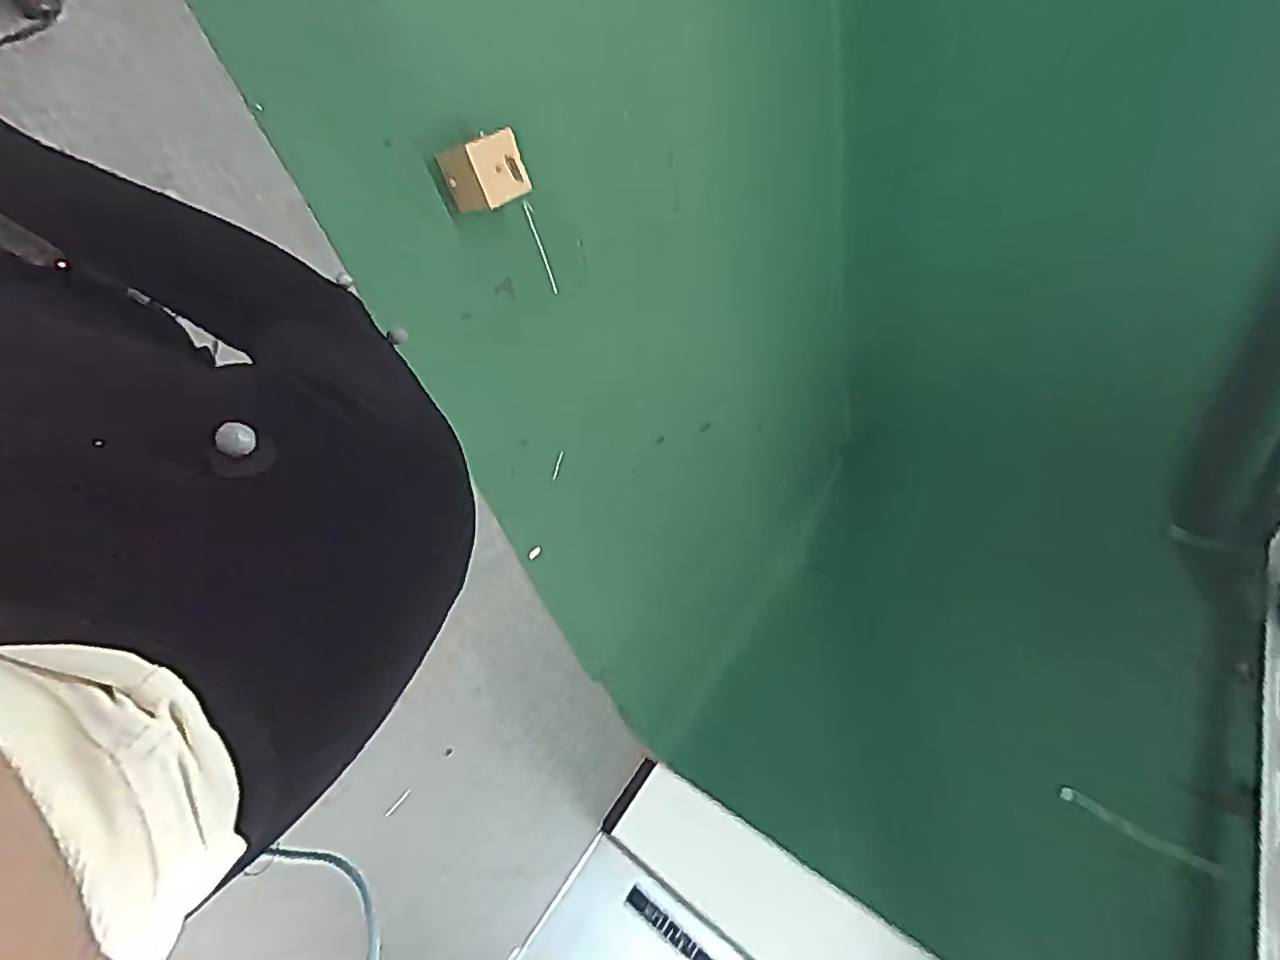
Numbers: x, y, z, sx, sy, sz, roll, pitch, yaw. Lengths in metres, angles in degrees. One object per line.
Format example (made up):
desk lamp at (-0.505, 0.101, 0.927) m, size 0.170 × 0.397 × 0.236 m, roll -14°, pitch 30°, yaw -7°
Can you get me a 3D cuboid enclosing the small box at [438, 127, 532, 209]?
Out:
small box at (-0.463, -0.928, 1.615) m, size 0.179 × 0.176 × 0.168 m, roll -45°, pitch 133°, yaw -29°
